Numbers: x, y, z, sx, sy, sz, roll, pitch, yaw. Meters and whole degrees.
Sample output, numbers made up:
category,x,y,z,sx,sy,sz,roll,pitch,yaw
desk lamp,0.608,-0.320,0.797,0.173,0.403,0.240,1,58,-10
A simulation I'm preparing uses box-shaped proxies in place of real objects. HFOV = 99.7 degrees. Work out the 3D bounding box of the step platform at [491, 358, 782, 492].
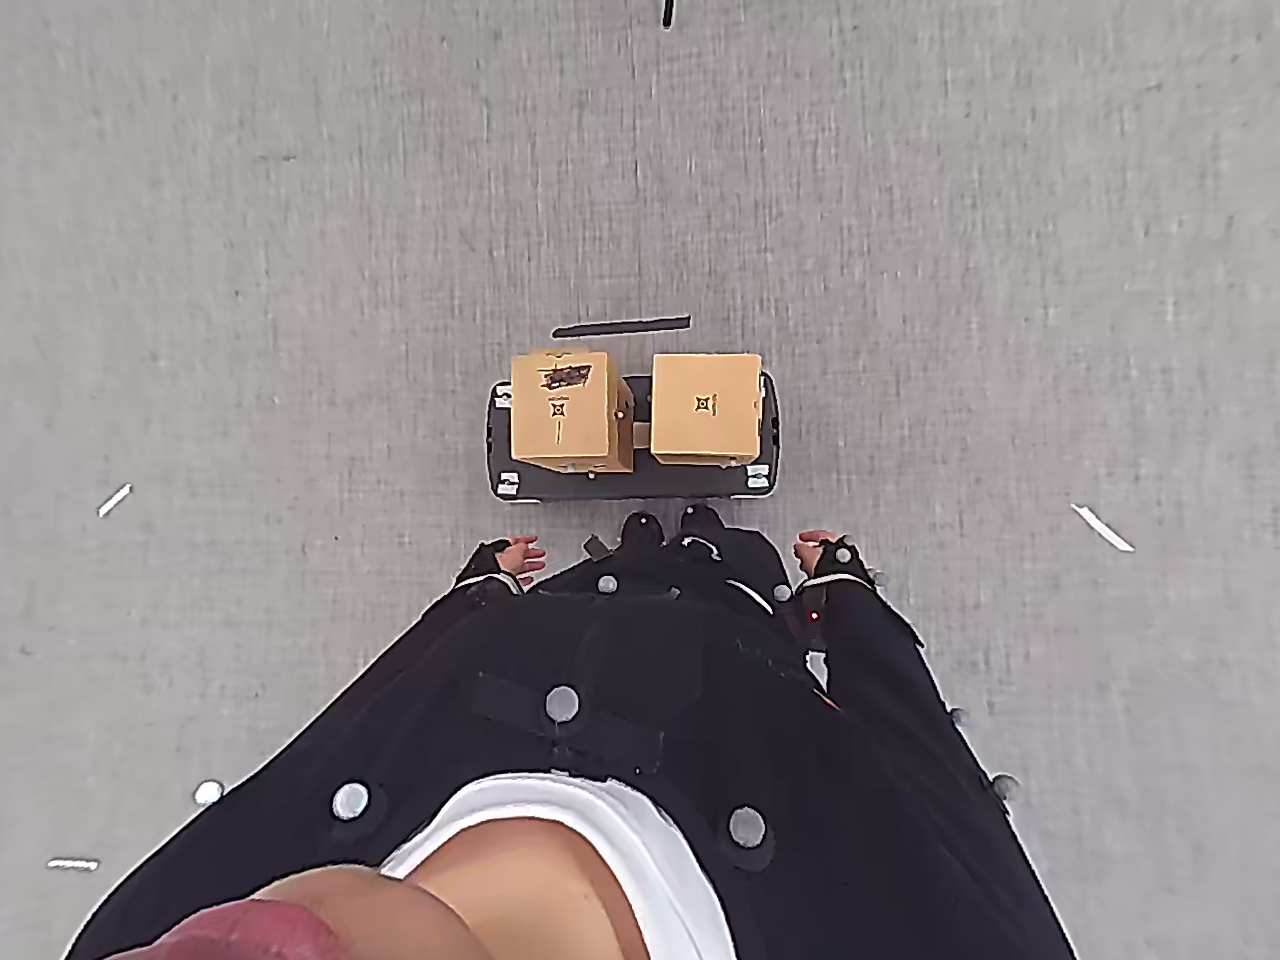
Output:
category,x,y,z,sx,sy,sz,roll,pitch,yaw
step platform,-0.009,-0.122,1.300,0.684,0.204,0.286,-2,87,6

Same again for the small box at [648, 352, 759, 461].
category,x,y,z,sx,sy,sz,roll,pitch,yaw
small box,0.110,-0.121,0.950,0.179,0.176,0.168,1,87,5

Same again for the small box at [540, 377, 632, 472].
category,x,y,z,sx,sy,sz,roll,pitch,yaw
small box,-0.109,-0.111,1.135,0.168,0.176,0.179,0,87,6

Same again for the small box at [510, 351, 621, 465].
category,x,y,z,sx,sy,sz,roll,pitch,yaw
small box,-0.127,-0.122,0.972,0.168,0.176,0.179,-1,87,6
